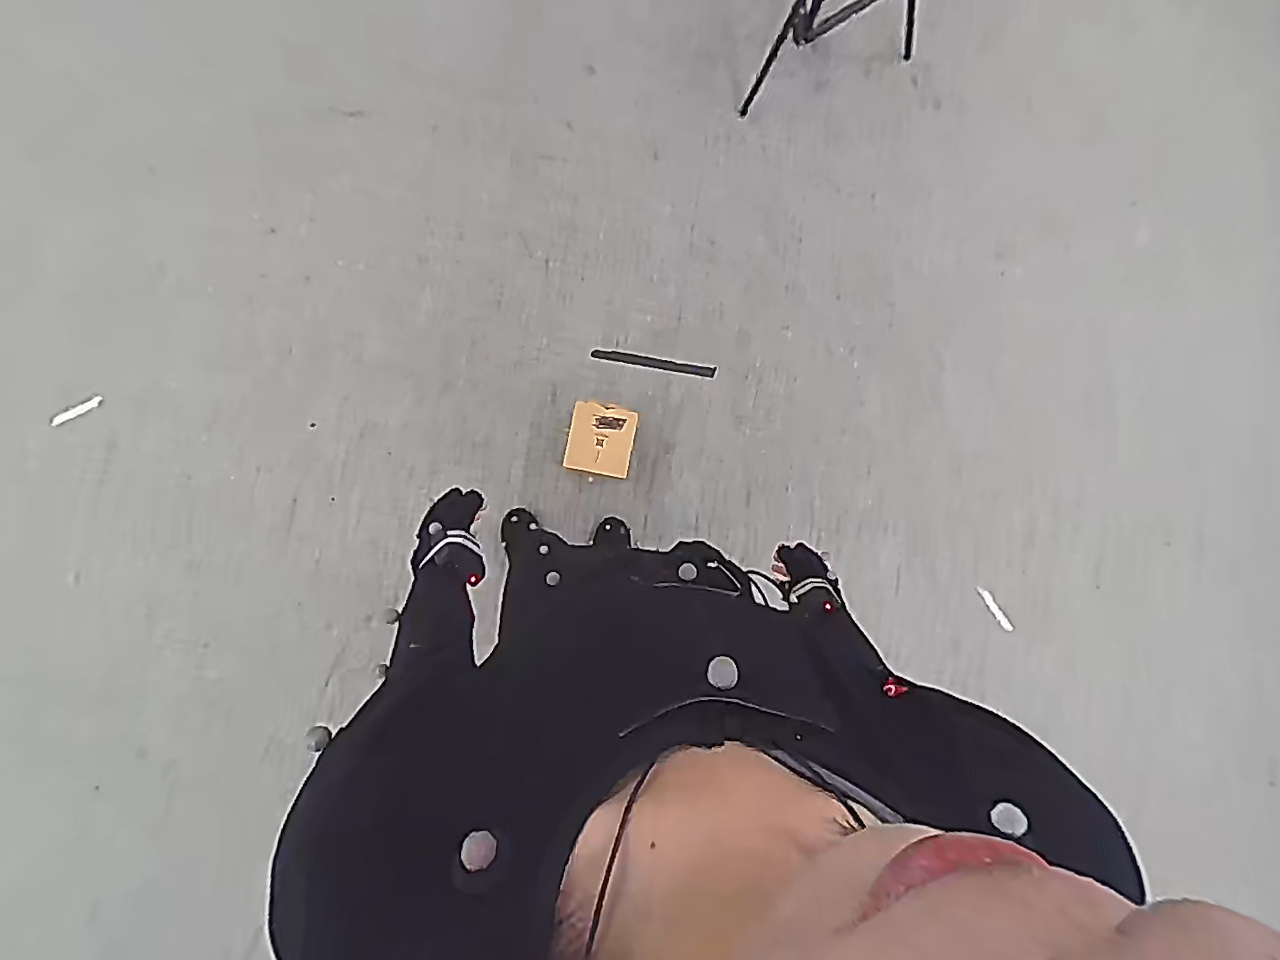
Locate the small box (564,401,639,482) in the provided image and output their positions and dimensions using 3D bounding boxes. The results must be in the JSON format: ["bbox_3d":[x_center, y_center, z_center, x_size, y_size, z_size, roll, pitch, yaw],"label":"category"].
[{"bbox_3d":[-0.105,-0.099,1.461,0.168,0.176,0.179,12,86,-4],"label":"small box"}]
